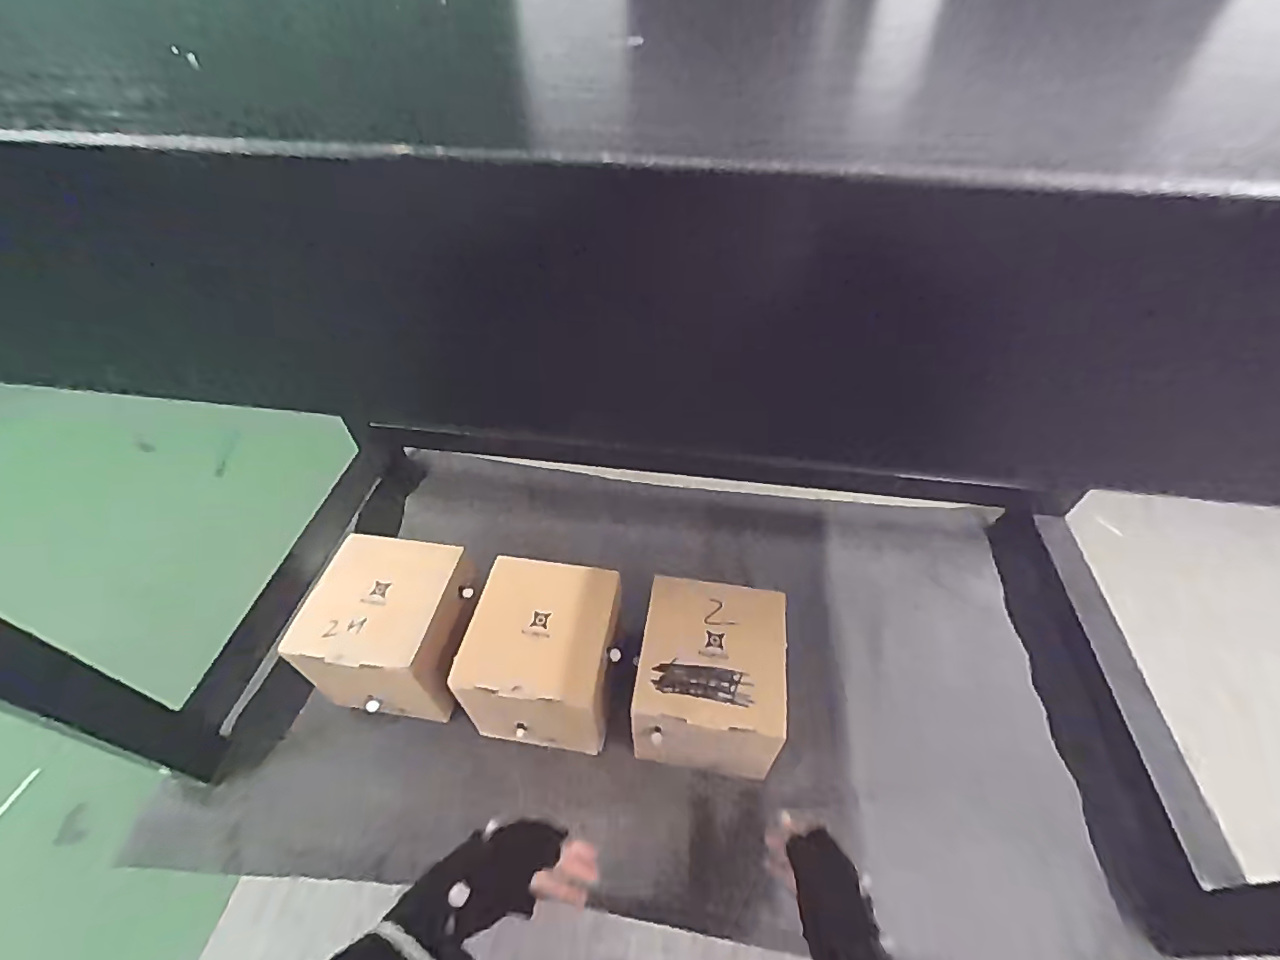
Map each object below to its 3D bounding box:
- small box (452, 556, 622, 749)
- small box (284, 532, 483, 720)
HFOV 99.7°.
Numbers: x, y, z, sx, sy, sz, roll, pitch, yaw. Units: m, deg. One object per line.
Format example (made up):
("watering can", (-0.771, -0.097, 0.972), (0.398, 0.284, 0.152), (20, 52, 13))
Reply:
("small box", (-0.119, 0.227, 0.710), (0.168, 0.176, 0.179), (7, 49, 6))
("small box", (-0.324, 0.198, 0.734), (0.168, 0.176, 0.179), (6, 48, 6))
